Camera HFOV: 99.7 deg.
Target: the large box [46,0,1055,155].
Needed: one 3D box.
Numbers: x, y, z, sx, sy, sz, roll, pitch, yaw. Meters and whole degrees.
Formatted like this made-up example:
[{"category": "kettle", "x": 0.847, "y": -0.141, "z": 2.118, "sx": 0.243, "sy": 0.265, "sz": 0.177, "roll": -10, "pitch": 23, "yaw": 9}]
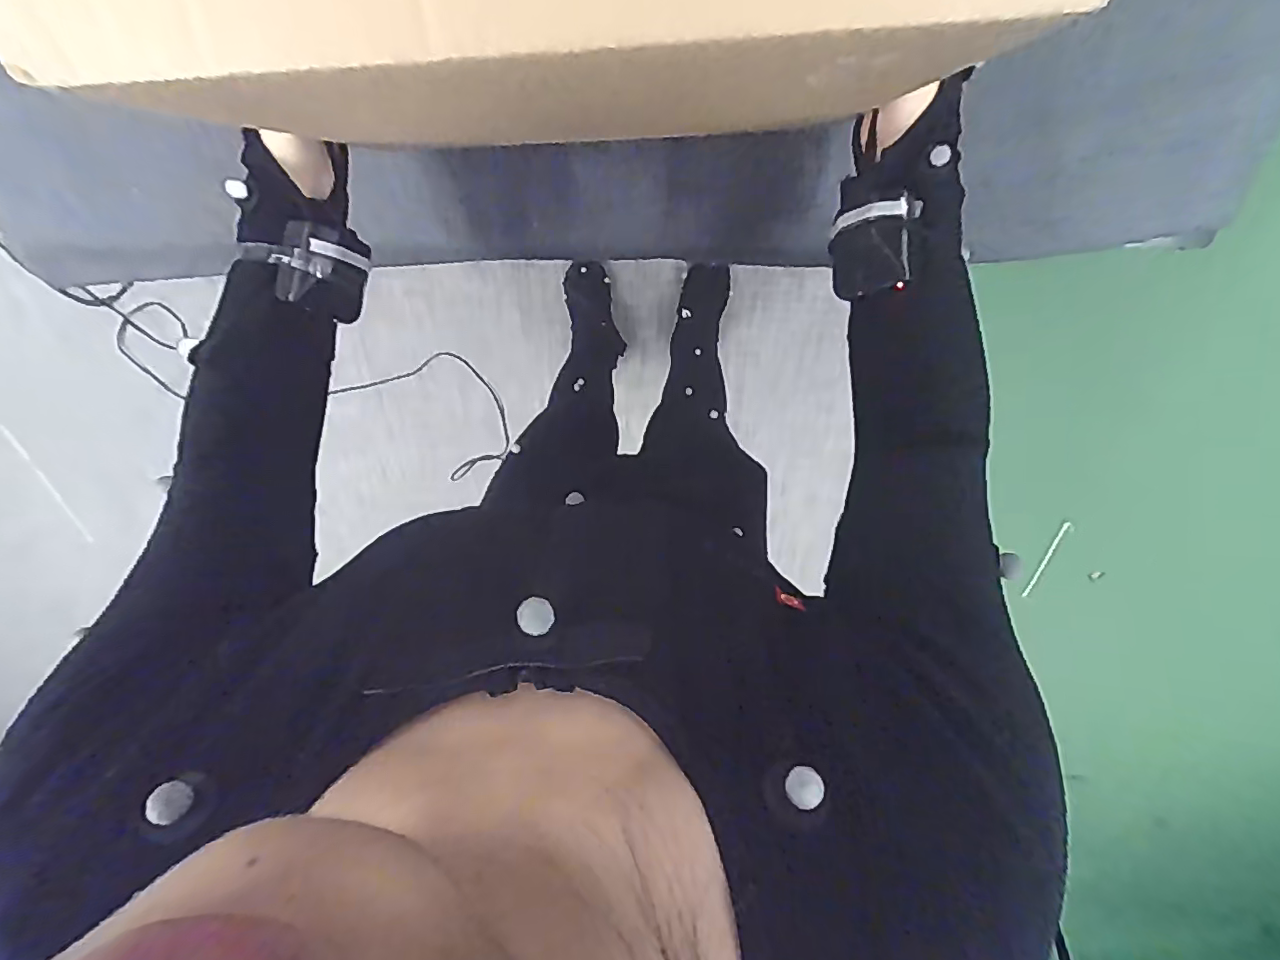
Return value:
[{"category": "large box", "x": -0.041, "y": -0.373, "z": 0.281, "sx": 0.408, "sy": 0.320, "sz": 0.320, "roll": -2, "pitch": 118, "yaw": 3}]
